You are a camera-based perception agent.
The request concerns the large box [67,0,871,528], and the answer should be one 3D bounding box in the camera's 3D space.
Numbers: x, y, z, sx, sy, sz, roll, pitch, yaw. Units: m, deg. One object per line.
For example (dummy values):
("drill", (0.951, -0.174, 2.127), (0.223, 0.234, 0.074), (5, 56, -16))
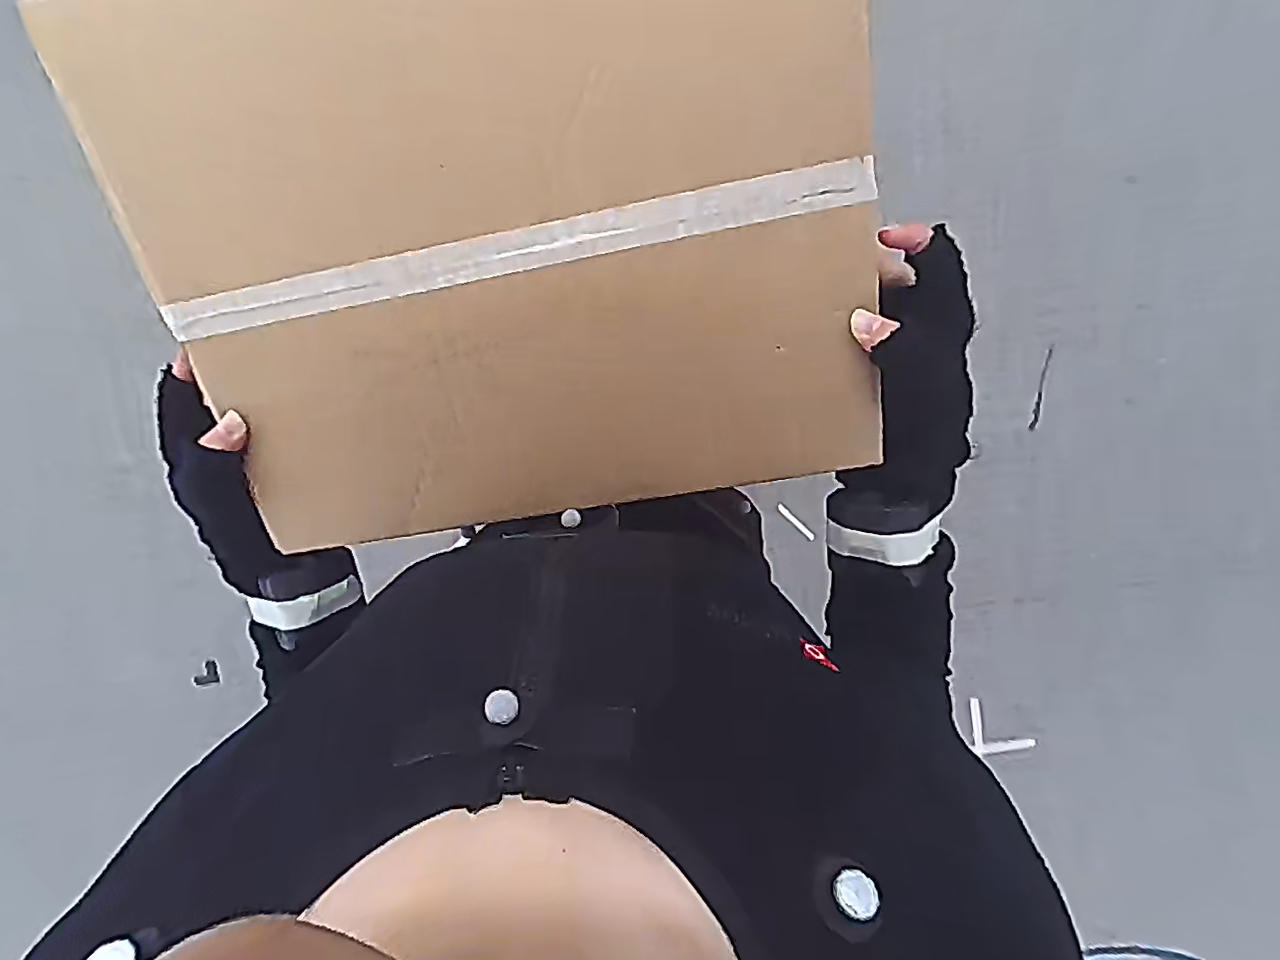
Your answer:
("large box", (-0.073, -0.189, 0.447), (0.408, 0.320, 0.320), (-9, 111, 6))
